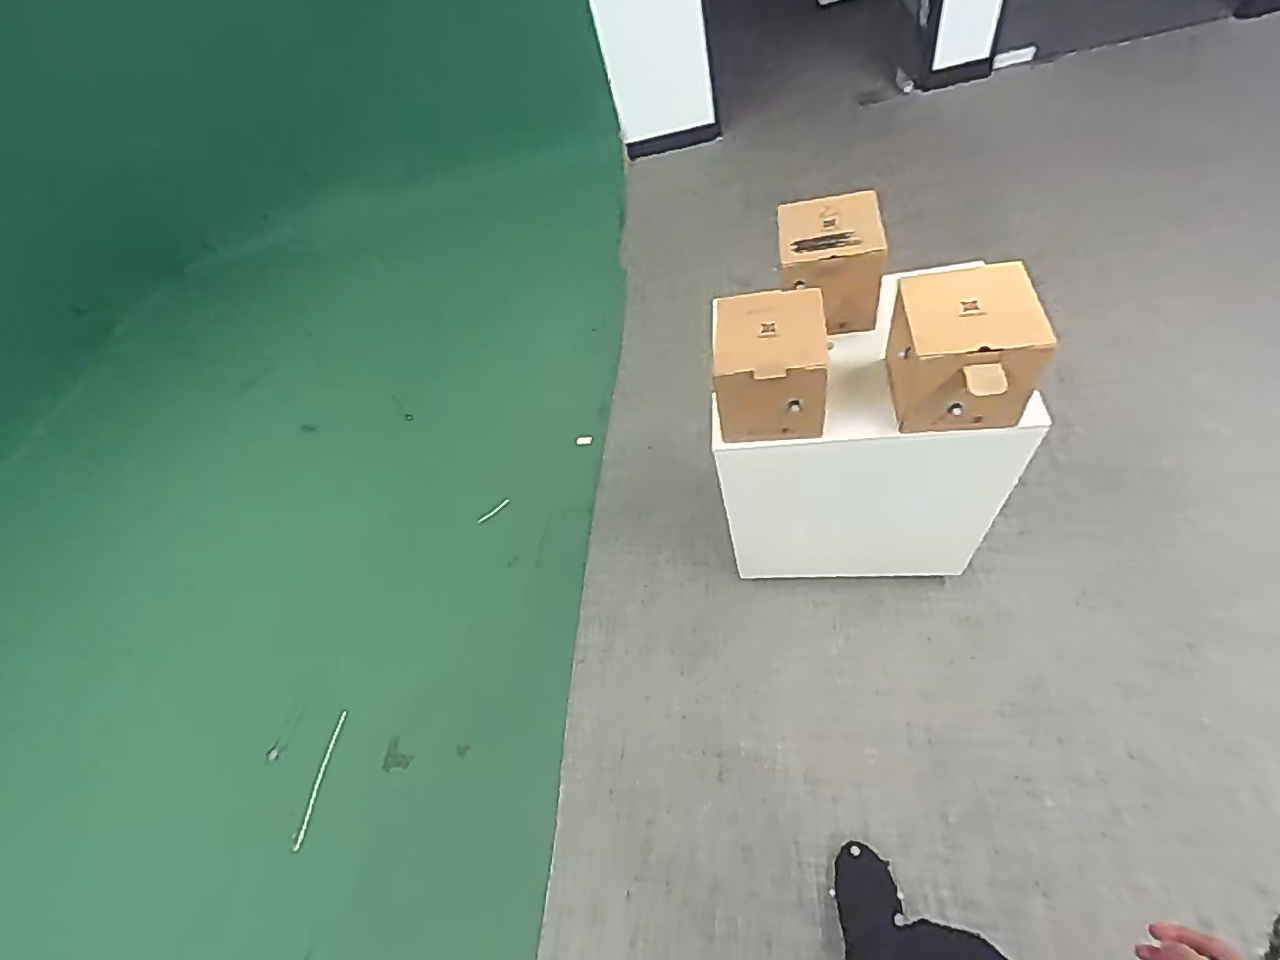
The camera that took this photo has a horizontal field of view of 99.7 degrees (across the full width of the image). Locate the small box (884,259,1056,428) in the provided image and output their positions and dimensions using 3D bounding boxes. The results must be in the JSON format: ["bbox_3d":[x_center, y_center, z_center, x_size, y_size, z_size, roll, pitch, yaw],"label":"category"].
[{"bbox_3d":[0.475,-0.200,0.814,0.168,0.176,0.179,-3,56,14],"label":"small box"}]

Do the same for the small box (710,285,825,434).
[{"bbox_3d":[0.208,-0.187,0.883,0.168,0.176,0.179,-2,55,13],"label":"small box"}]
